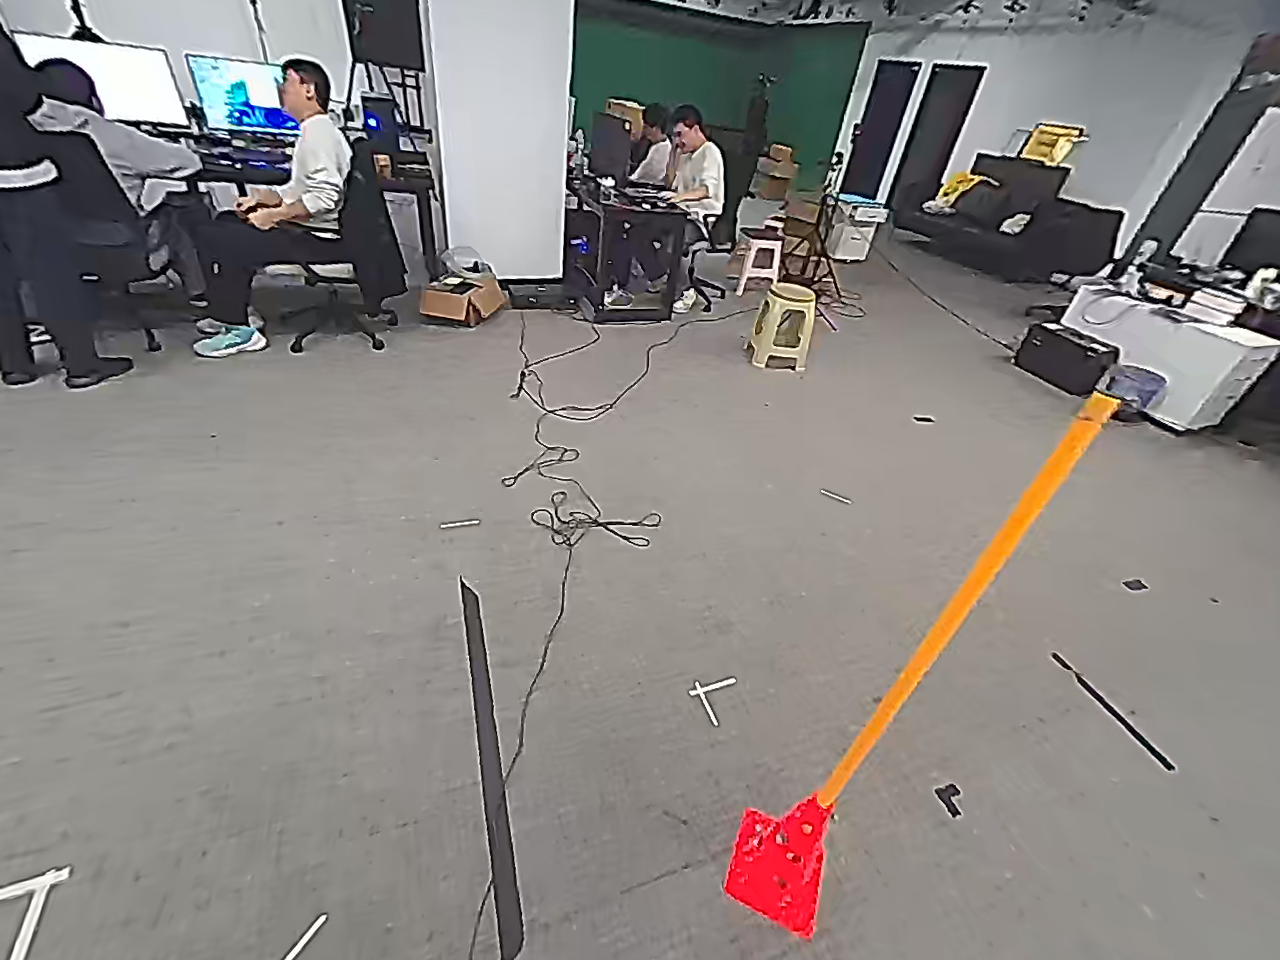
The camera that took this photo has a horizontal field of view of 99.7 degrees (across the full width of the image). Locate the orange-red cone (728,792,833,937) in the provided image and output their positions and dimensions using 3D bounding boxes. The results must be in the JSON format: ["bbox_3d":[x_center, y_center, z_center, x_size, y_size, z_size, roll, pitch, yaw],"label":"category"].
[{"bbox_3d":[0.331,0.748,1.123,0.198,0.360,0.199,20,39,17],"label":"orange-red cone"}]
